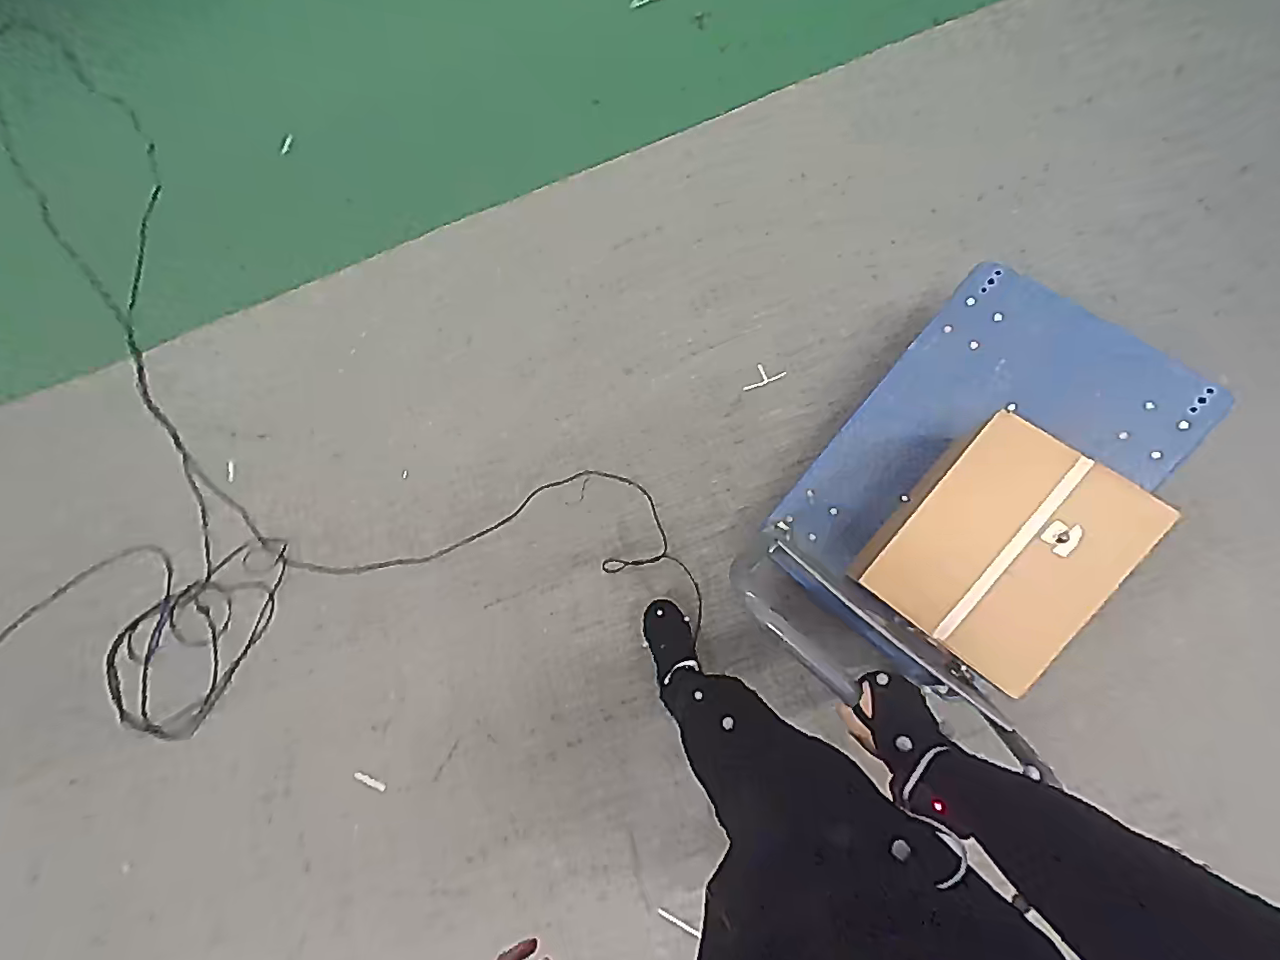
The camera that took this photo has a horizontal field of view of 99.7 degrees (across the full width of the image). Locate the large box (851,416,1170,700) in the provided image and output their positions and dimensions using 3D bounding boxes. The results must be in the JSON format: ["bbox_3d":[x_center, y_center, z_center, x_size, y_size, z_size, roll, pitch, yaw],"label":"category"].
[{"bbox_3d":[0.684,0.150,1.086,0.320,0.320,0.408,39,94,17],"label":"large box"}]
